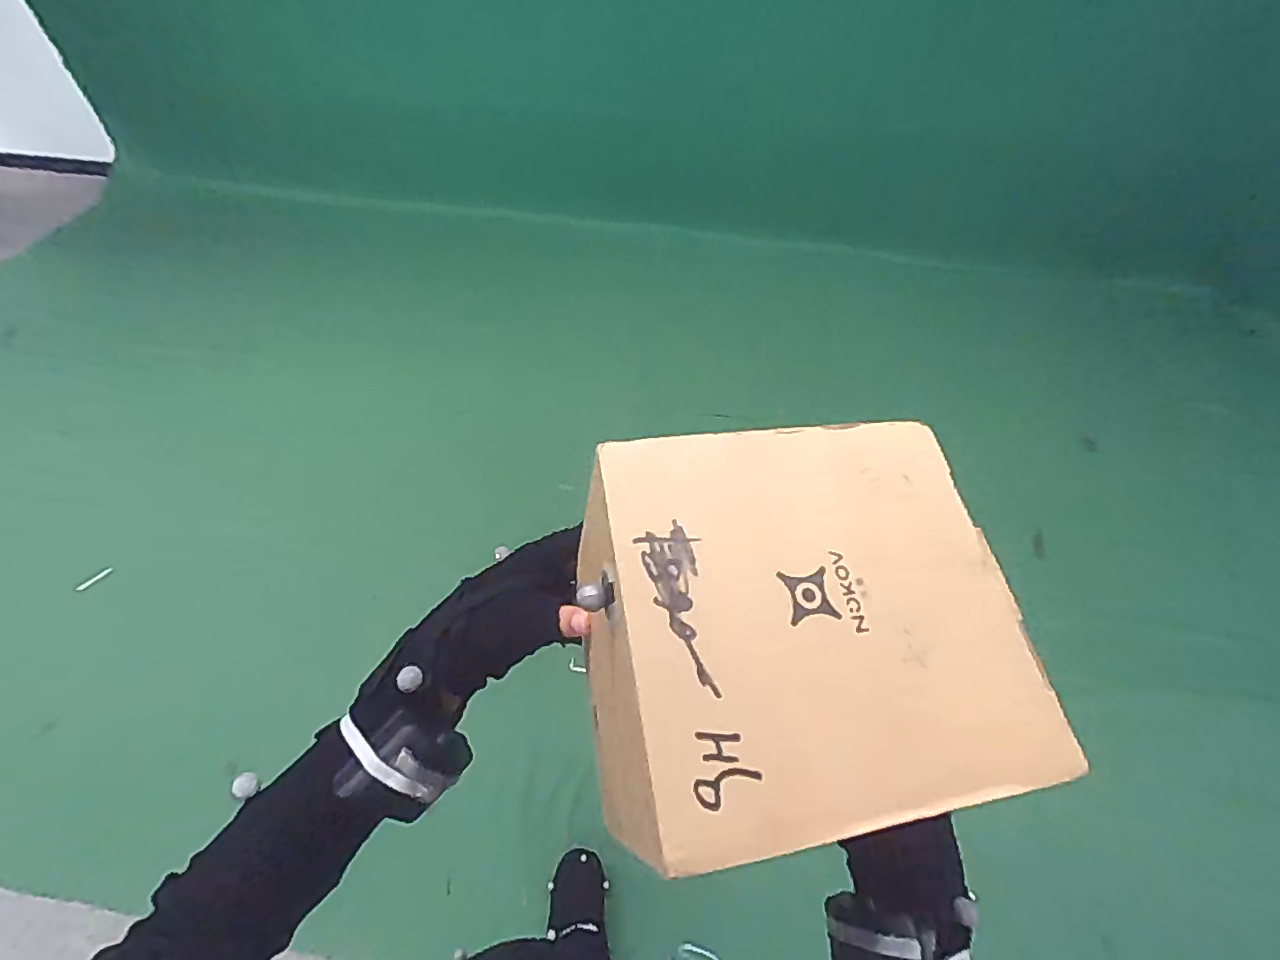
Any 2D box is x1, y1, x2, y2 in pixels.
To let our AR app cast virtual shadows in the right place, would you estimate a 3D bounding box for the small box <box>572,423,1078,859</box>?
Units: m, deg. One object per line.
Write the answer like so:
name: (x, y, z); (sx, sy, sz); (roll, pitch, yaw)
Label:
small box: (0.064, 0.083, 0.297); (0.179, 0.176, 0.168); (-3, 62, -14)
